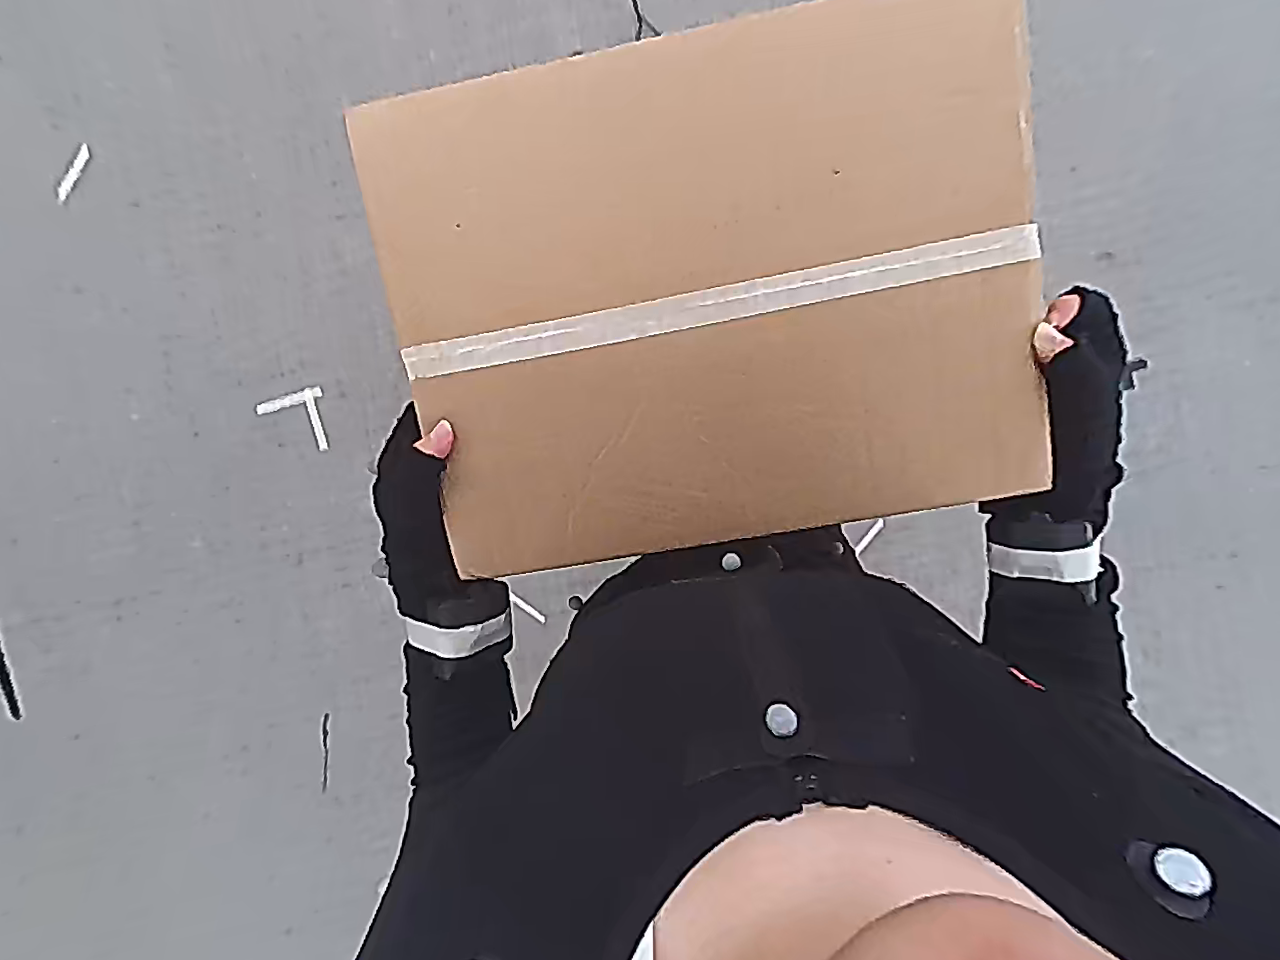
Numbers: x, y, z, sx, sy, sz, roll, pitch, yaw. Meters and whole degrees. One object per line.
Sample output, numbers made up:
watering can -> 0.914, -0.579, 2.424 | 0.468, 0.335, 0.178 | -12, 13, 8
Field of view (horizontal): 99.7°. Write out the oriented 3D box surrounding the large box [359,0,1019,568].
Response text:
large box -> 0.047, -0.145, 0.504 | 0.408, 0.320, 0.320 | -10, 99, 5
